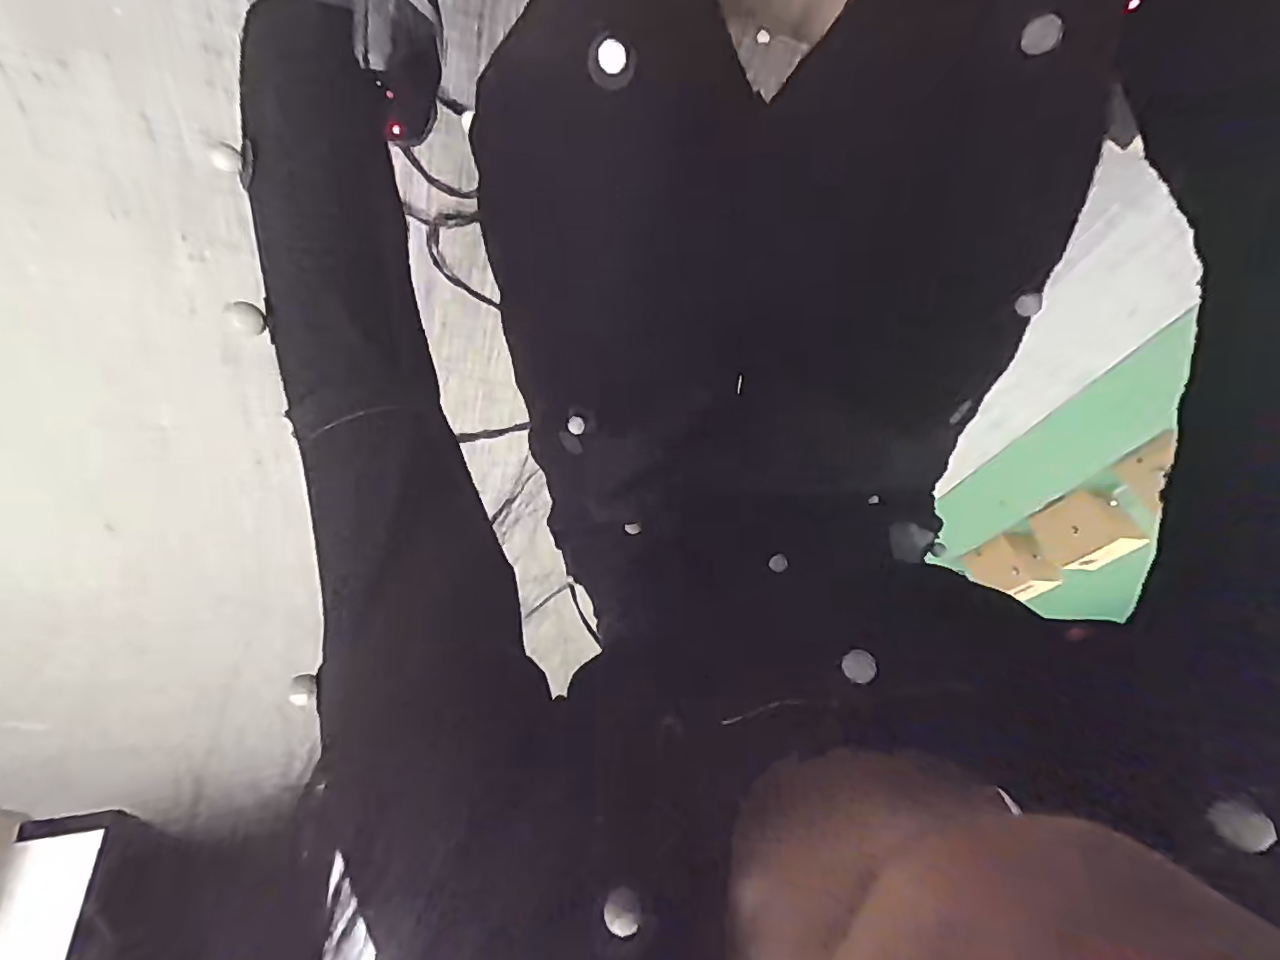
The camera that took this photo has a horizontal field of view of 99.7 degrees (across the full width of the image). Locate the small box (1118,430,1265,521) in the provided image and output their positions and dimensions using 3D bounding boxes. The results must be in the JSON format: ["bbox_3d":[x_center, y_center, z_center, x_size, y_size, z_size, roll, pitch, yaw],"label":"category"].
[{"bbox_3d":[1.396,-0.012,1.383,0.179,0.176,0.168,3,143,-20],"label":"small box"}]
